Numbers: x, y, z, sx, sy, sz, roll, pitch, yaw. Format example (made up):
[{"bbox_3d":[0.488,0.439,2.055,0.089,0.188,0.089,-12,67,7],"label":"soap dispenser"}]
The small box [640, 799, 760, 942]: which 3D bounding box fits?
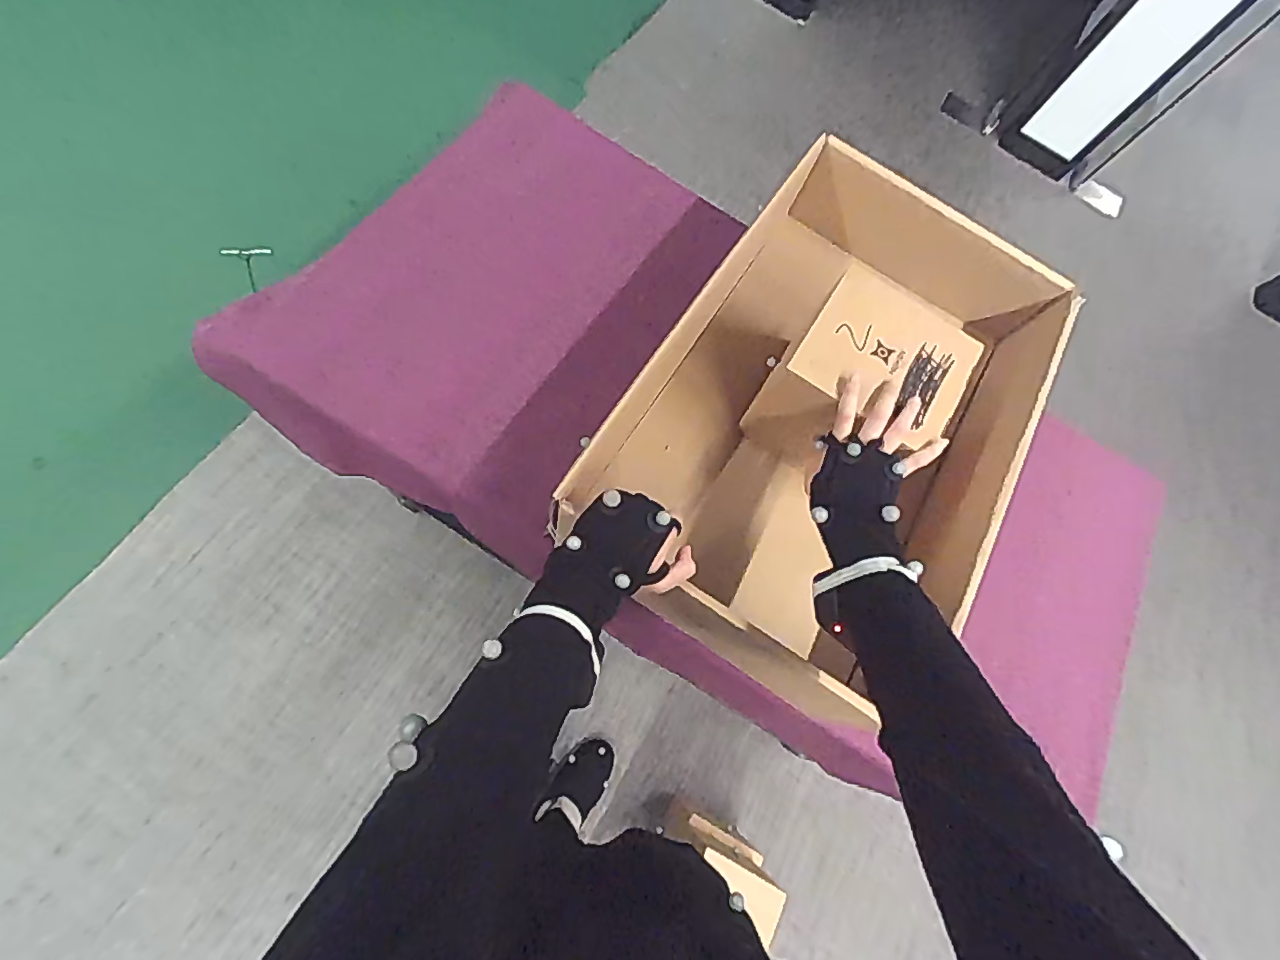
[{"bbox_3d":[0.122,0.818,1.157,0.179,0.176,0.168,31,69,2],"label":"small box"}]
